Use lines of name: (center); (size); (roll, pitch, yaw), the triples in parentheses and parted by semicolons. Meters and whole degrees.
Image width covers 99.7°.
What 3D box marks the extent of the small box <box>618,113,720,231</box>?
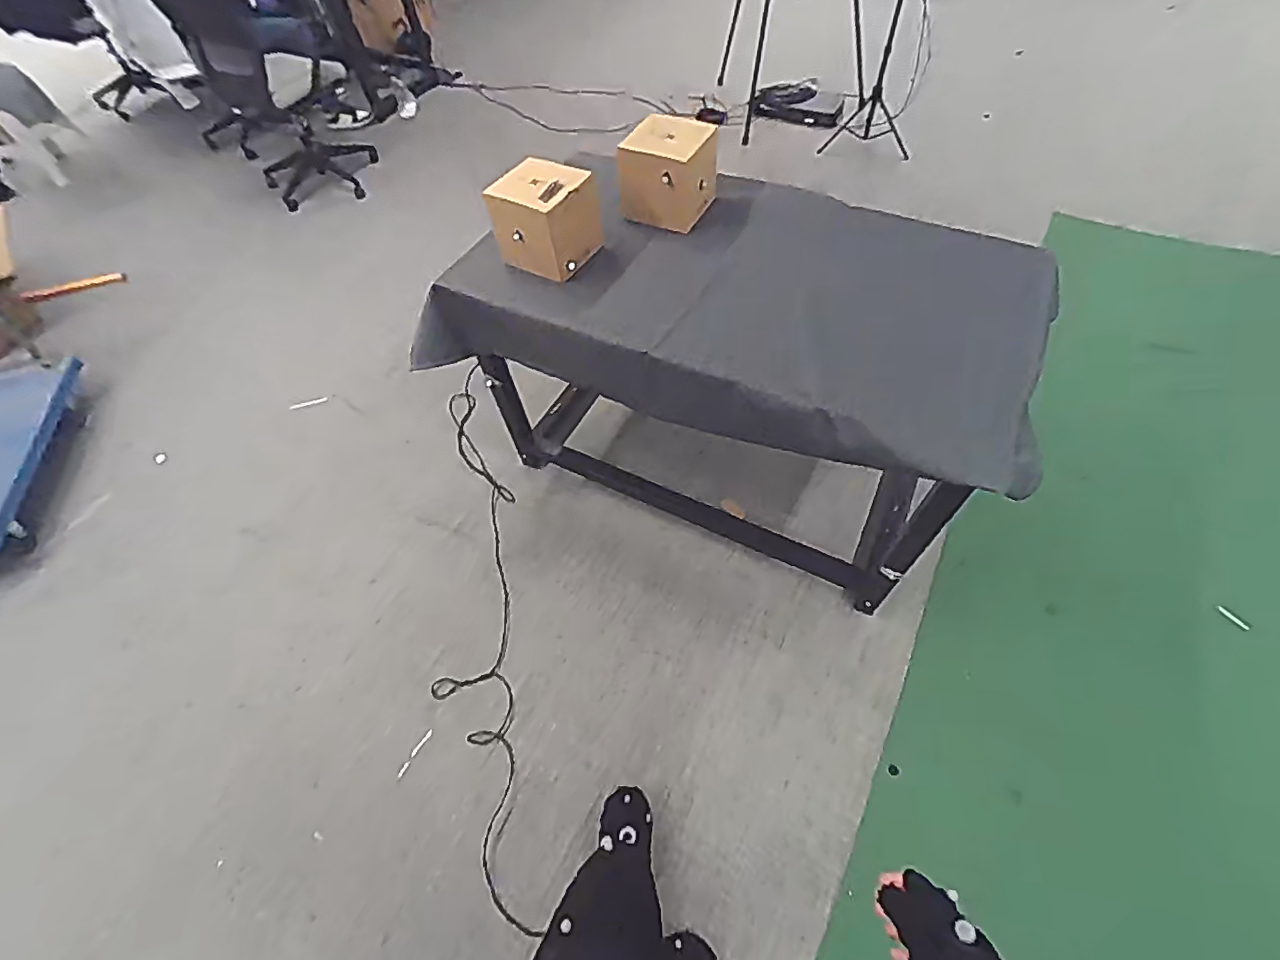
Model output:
small box: (0.071, -0.711, 1.257); (0.179, 0.176, 0.168); (24, 62, 18)

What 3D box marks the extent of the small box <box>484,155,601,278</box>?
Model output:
small box: (-0.203, -0.574, 1.189); (0.179, 0.176, 0.168); (26, 62, 20)
